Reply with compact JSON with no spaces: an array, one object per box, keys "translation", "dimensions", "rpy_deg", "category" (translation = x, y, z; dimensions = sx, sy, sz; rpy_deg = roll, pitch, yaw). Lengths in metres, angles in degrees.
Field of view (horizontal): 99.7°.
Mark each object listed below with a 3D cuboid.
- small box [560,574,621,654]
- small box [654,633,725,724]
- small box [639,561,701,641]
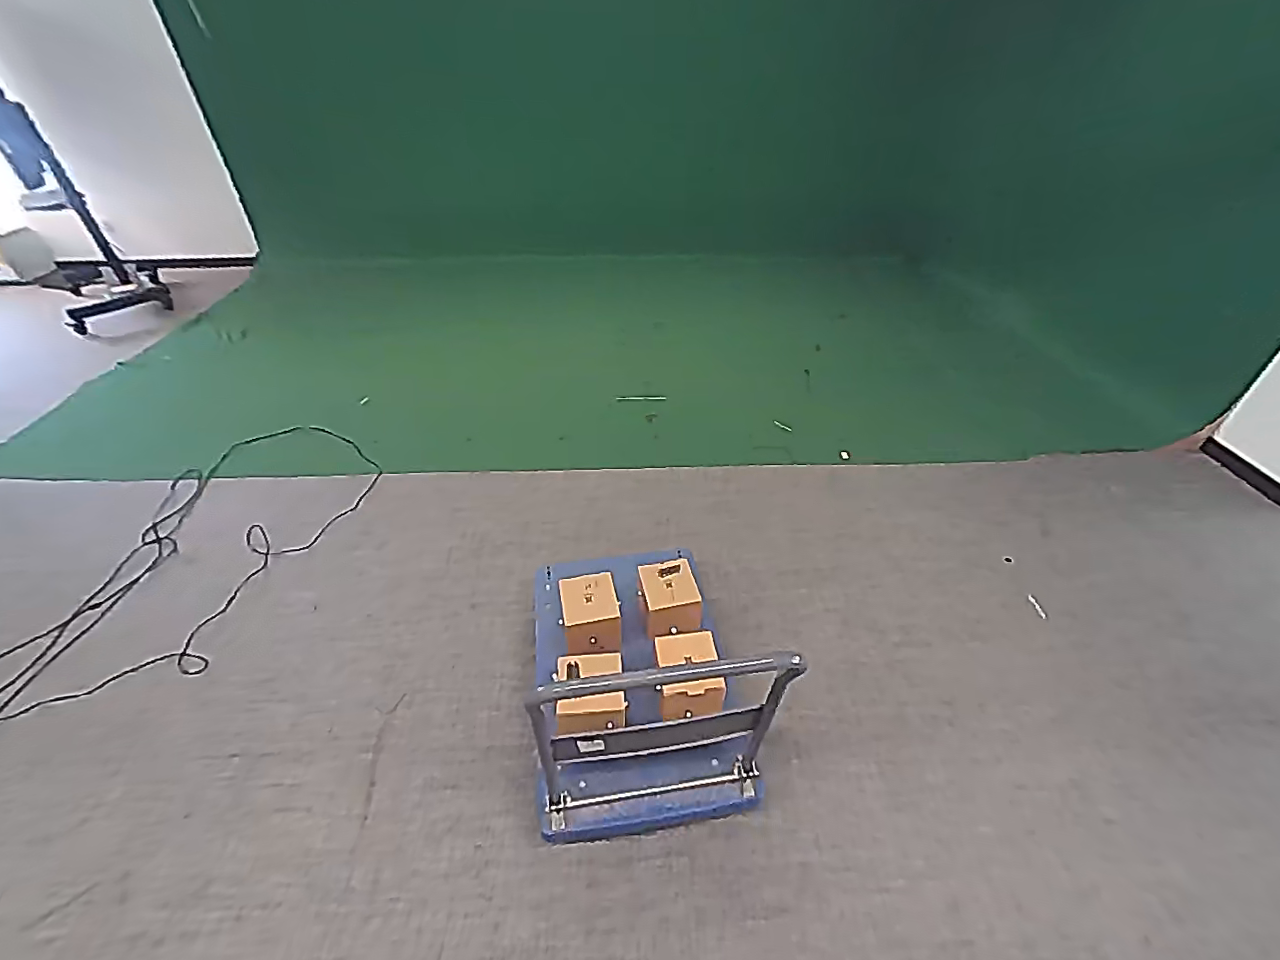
[{"translation":[-0.155,0.426,1.699],"dimensions":[0.168,0.176,0.179],"rpy_deg":[-8,41,-10],"category":"small box"},{"translation":[0.134,0.563,1.538],"dimensions":[0.168,0.176,0.179],"rpy_deg":[-5,41,-6],"category":"small box"},{"translation":[0.091,0.389,1.742],"dimensions":[0.168,0.176,0.179],"rpy_deg":[-9,42,-9],"category":"small box"}]
